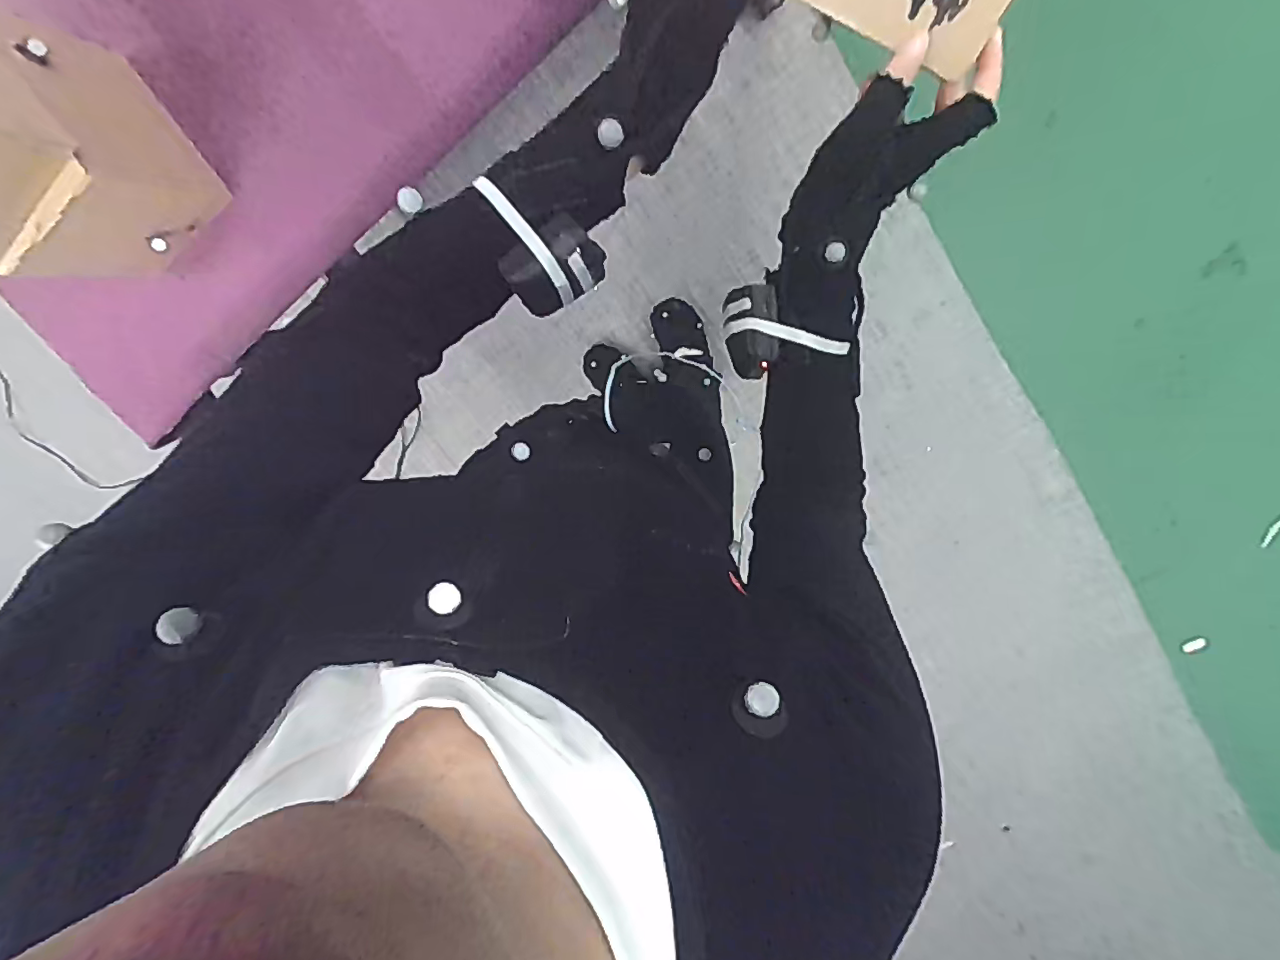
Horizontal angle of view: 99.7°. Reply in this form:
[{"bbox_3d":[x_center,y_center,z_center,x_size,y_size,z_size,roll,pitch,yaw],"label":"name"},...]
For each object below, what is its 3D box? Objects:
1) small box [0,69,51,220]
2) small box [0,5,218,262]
[{"bbox_3d":[-0.635,-0.301,0.415,0.179,0.176,0.168,-33,105,17],"label":"small box"},{"bbox_3d":[-0.618,-0.349,0.570,0.168,0.176,0.179,-29,106,16],"label":"small box"}]
